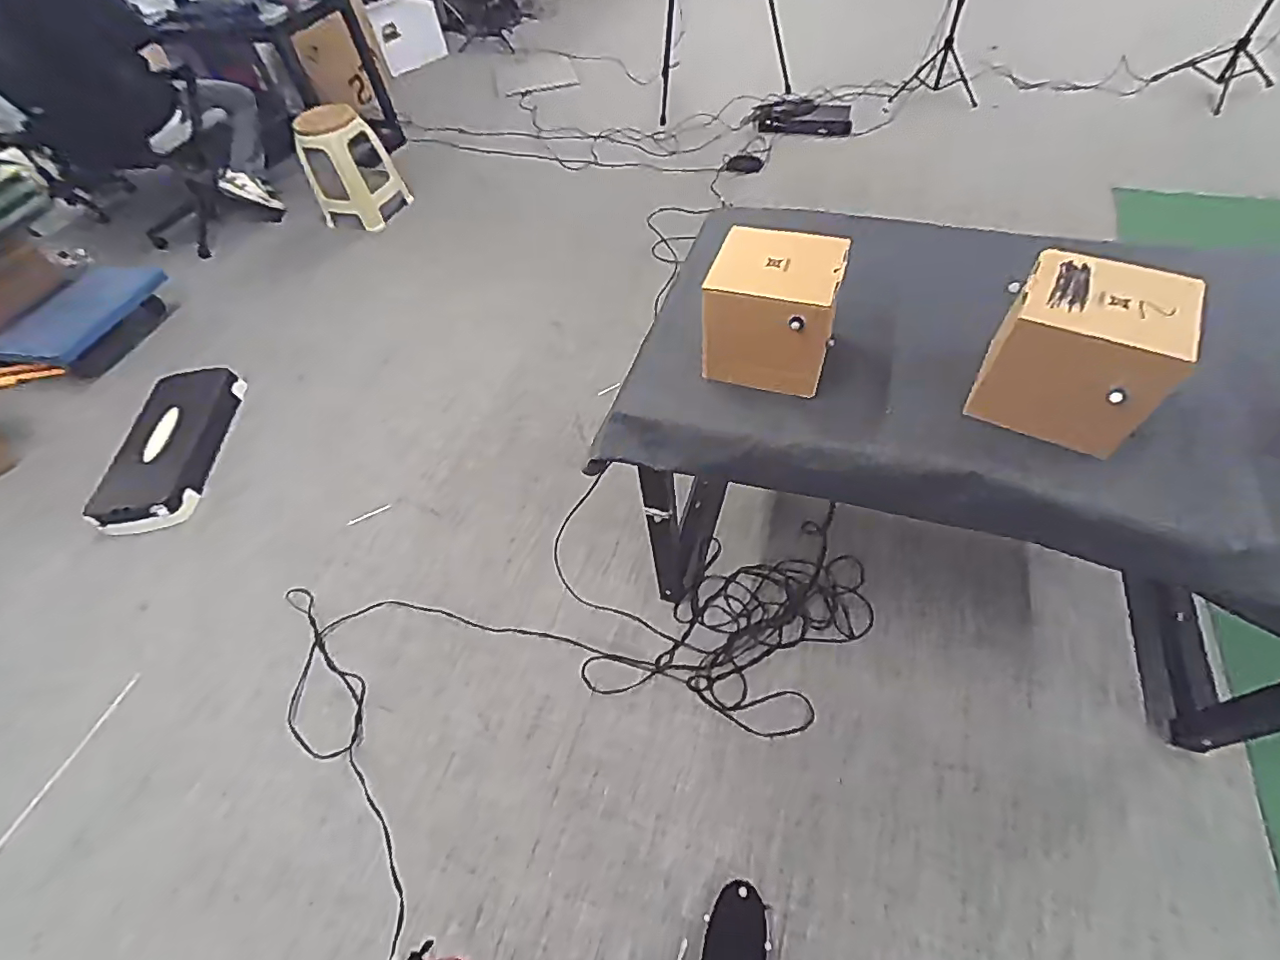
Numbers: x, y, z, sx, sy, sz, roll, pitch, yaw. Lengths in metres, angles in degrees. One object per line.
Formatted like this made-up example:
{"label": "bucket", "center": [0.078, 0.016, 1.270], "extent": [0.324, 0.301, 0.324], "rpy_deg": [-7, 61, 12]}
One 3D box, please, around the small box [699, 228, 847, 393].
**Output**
{"label": "small box", "center": [0.196, -0.254, 0.819], "extent": [0.179, 0.176, 0.168], "rpy_deg": [14, 56, 16]}
